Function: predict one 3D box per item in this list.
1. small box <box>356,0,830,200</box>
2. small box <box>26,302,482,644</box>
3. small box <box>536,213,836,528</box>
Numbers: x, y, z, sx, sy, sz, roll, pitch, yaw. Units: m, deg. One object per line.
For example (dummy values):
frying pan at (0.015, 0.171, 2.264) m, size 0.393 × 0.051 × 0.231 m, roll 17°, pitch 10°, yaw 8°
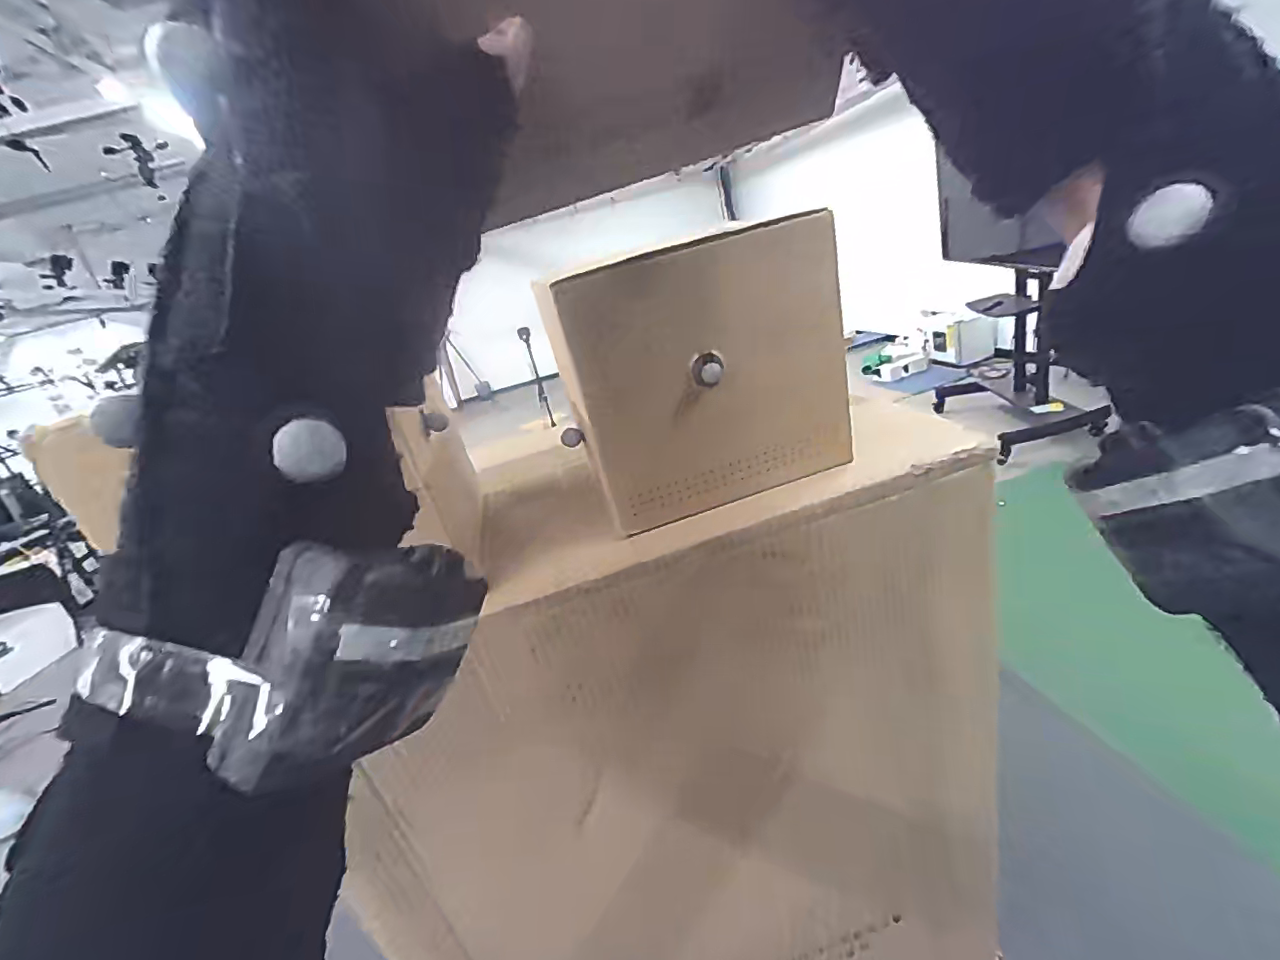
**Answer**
small box at (-0.031, -0.234, 0.205) m, size 0.168 × 0.176 × 0.179 m, roll -18°, pitch 58°, yaw -3°
small box at (-0.220, -0.011, 0.377) m, size 0.168 × 0.176 × 0.179 m, roll -18°, pitch 25°, yaw -6°
small box at (0.031, -0.088, 0.410) m, size 0.179 × 0.176 × 0.168 m, roll -17°, pitch 24°, yaw -6°
